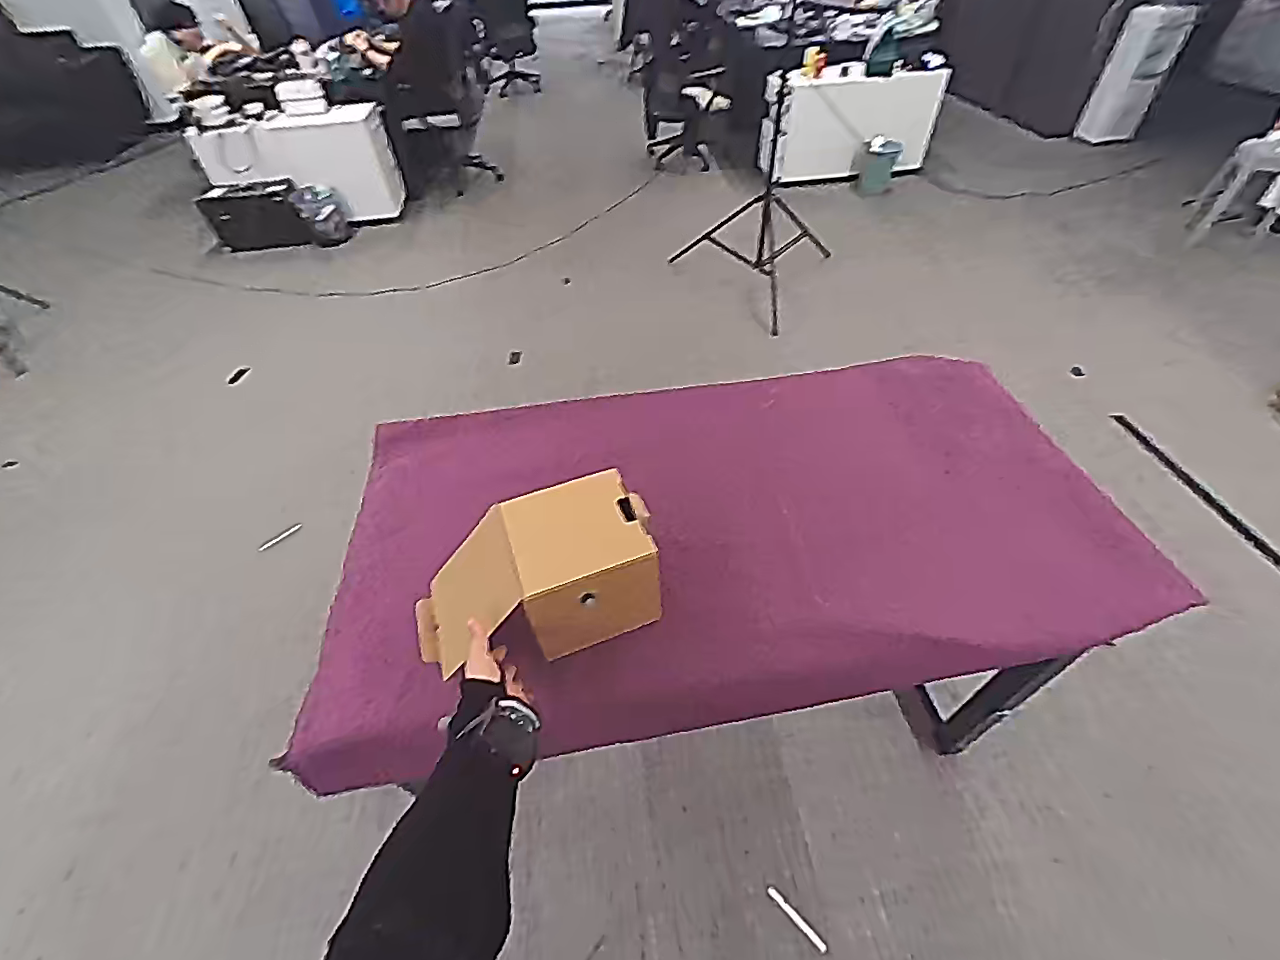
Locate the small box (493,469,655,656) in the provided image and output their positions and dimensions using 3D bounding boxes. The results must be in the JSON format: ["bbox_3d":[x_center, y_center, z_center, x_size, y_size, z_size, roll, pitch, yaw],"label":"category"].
[{"bbox_3d":[-0.087,0.117,0.755,0.179,0.176,0.168,-17,48,-13],"label":"small box"}]
